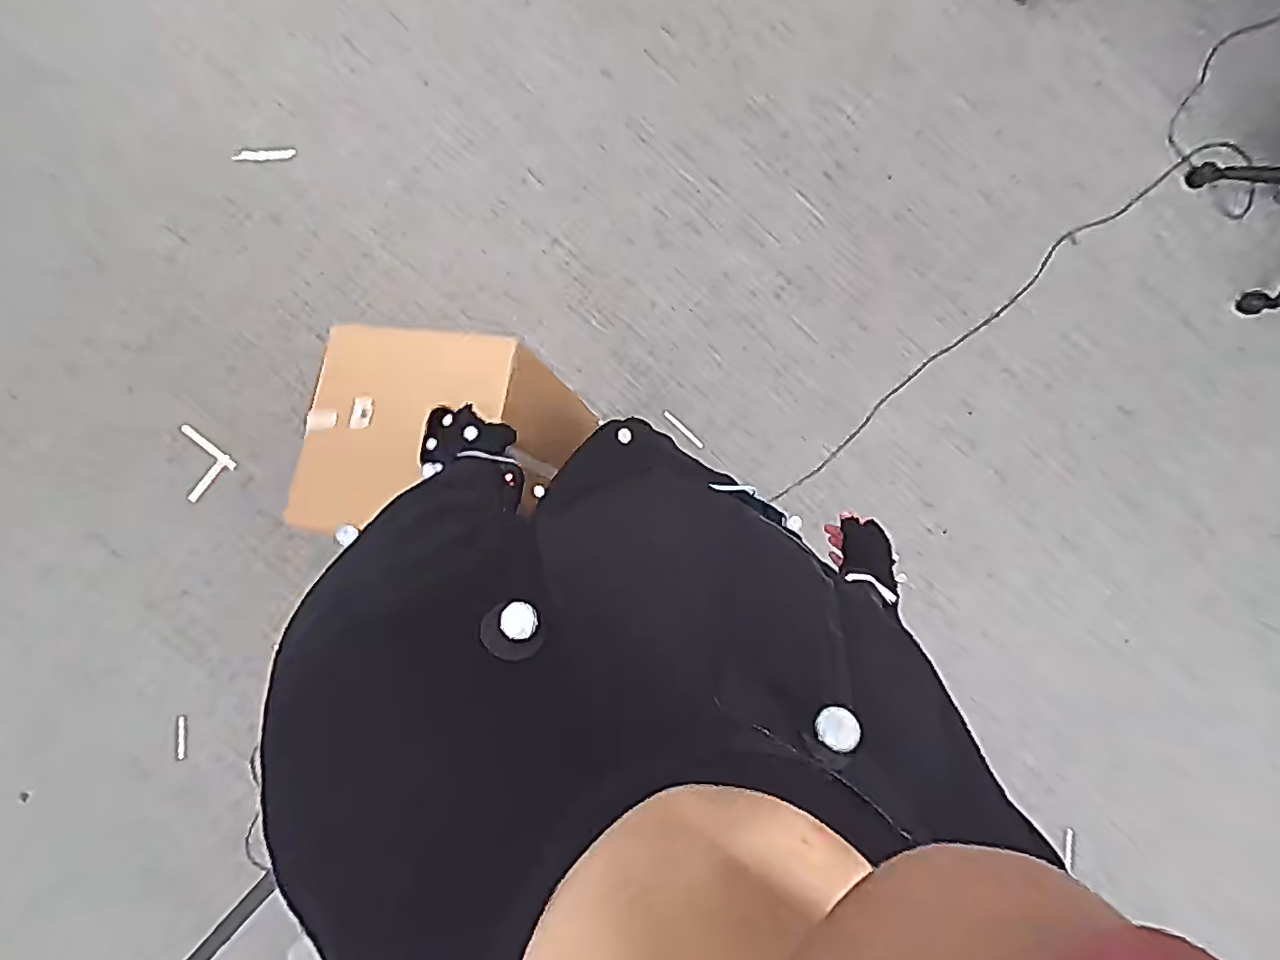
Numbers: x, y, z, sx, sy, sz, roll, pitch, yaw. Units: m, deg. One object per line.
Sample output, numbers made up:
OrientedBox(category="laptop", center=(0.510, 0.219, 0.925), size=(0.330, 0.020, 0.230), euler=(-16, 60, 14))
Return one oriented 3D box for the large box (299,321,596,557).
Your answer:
OrientedBox(category="large box", center=(-0.302, -0.047, 0.972), size=(0.320, 0.408, 0.320), euler=(12, 83, 11))
